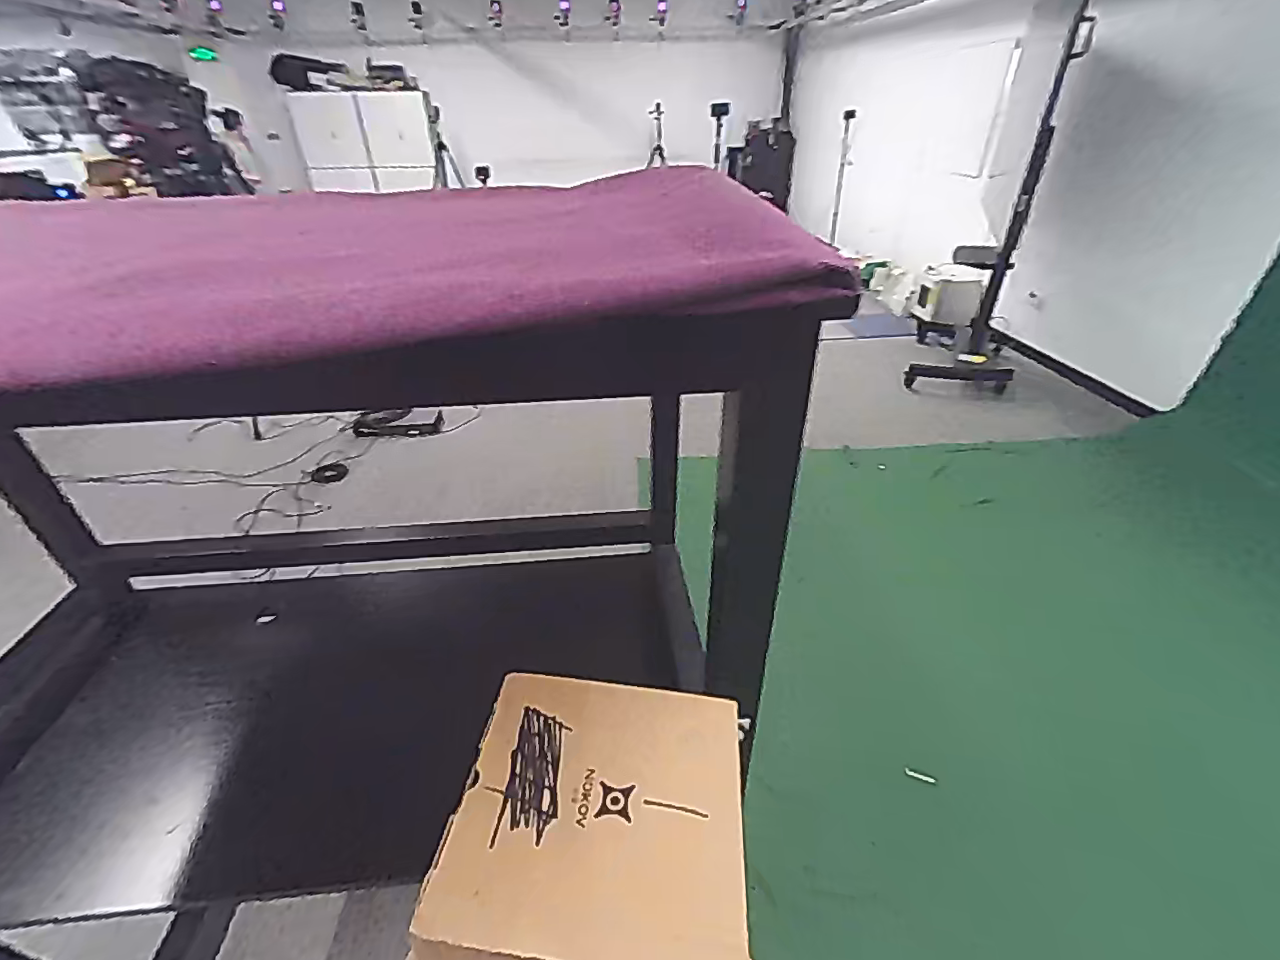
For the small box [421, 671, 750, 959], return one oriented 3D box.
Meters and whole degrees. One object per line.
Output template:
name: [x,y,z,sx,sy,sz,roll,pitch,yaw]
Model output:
small box: [-0.025,0.266,0.384,0.179,0.176,0.168,7,33,4]
